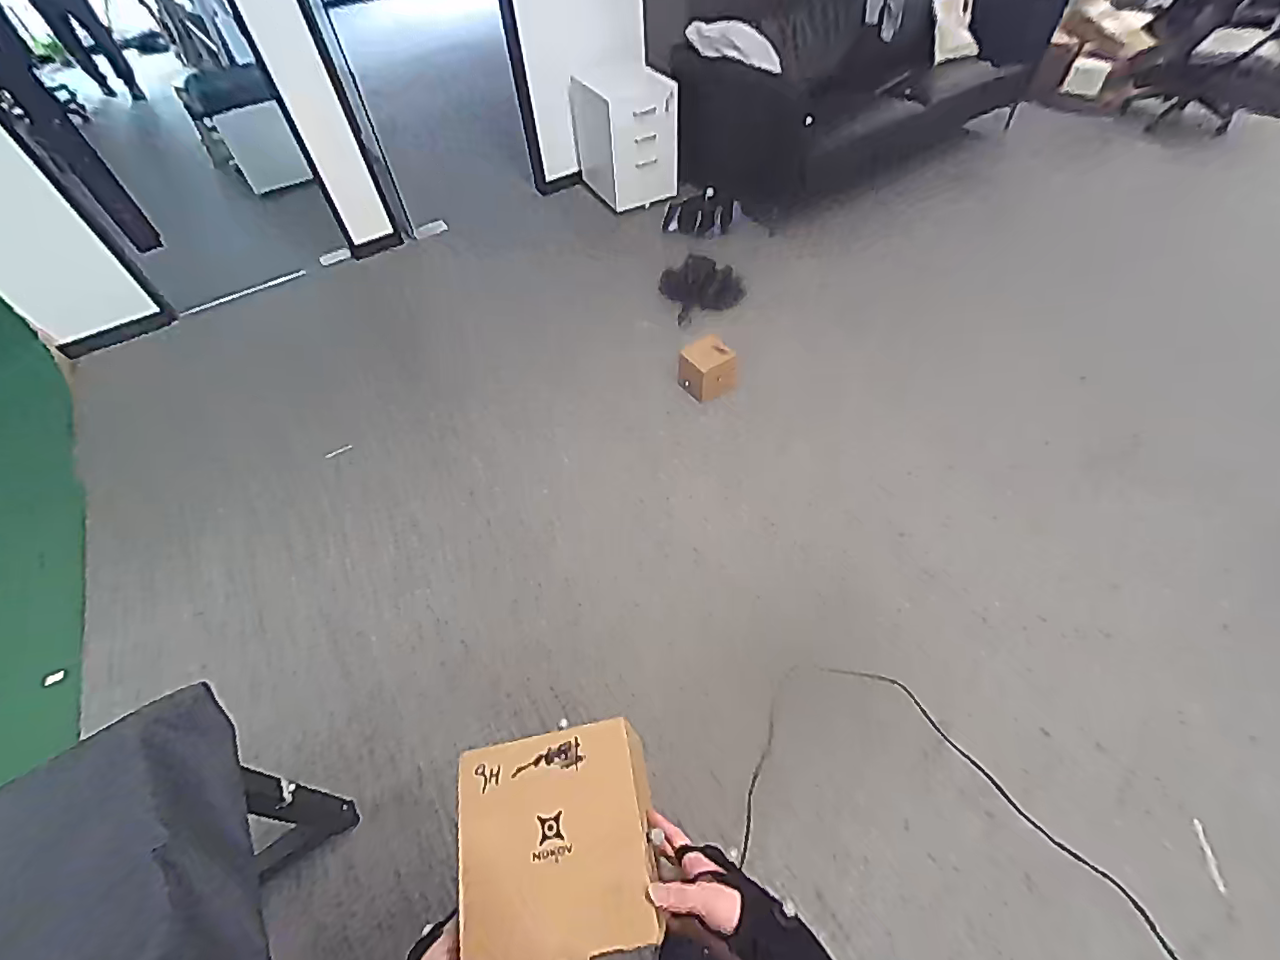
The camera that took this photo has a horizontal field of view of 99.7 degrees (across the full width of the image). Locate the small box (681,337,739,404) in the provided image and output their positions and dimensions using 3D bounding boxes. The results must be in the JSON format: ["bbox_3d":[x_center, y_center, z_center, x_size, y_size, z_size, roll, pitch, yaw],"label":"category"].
[{"bbox_3d":[0.282,-0.443,2.201,0.179,0.176,0.168,-30,55,-16],"label":"small box"}]
